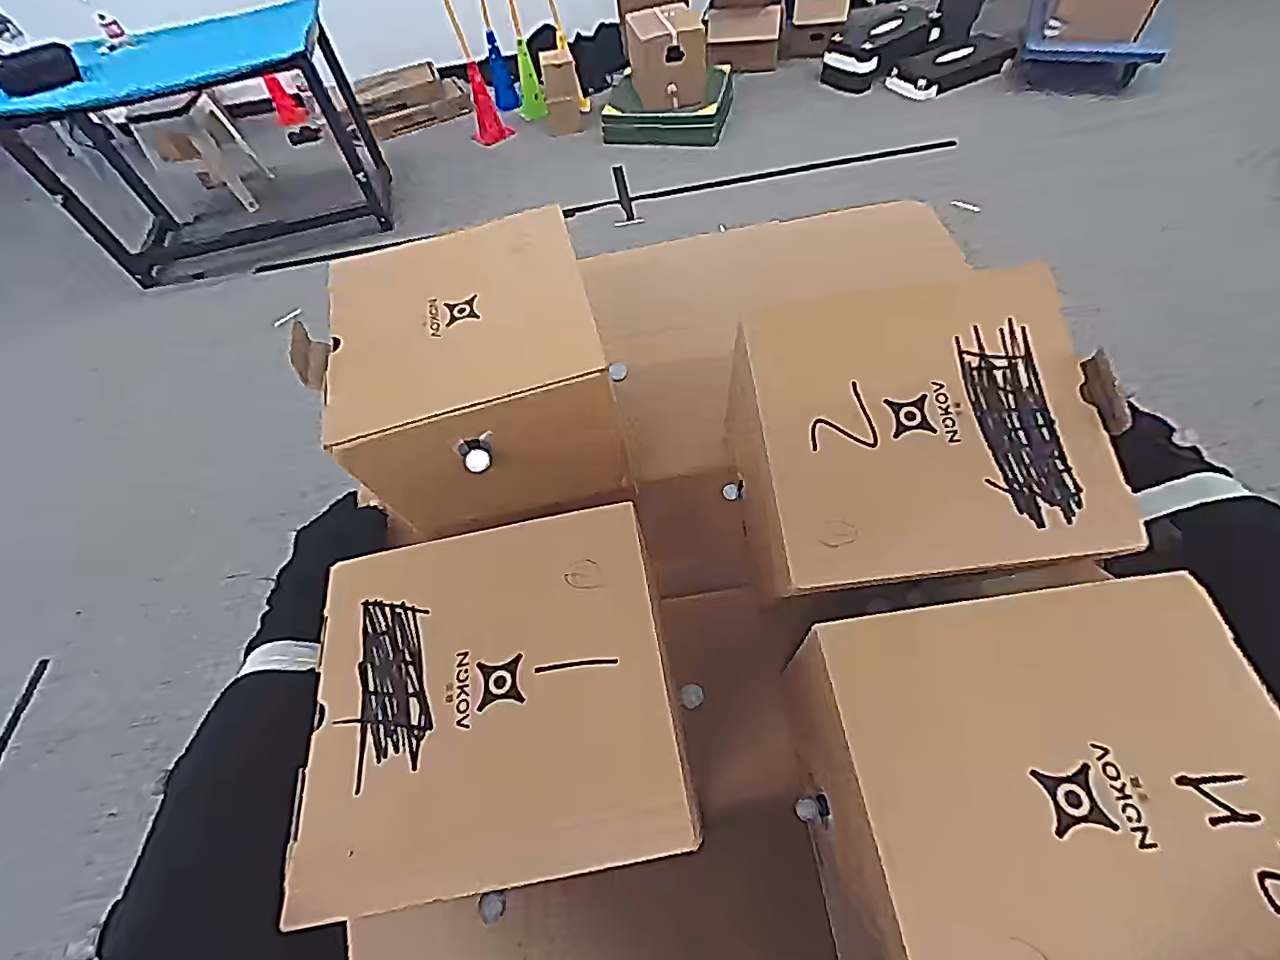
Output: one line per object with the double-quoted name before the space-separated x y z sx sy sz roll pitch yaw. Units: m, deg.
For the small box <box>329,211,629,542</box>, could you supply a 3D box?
"small box" -0.112 -0.071 0.432 0.179 0.176 0.168 -16 60 0
